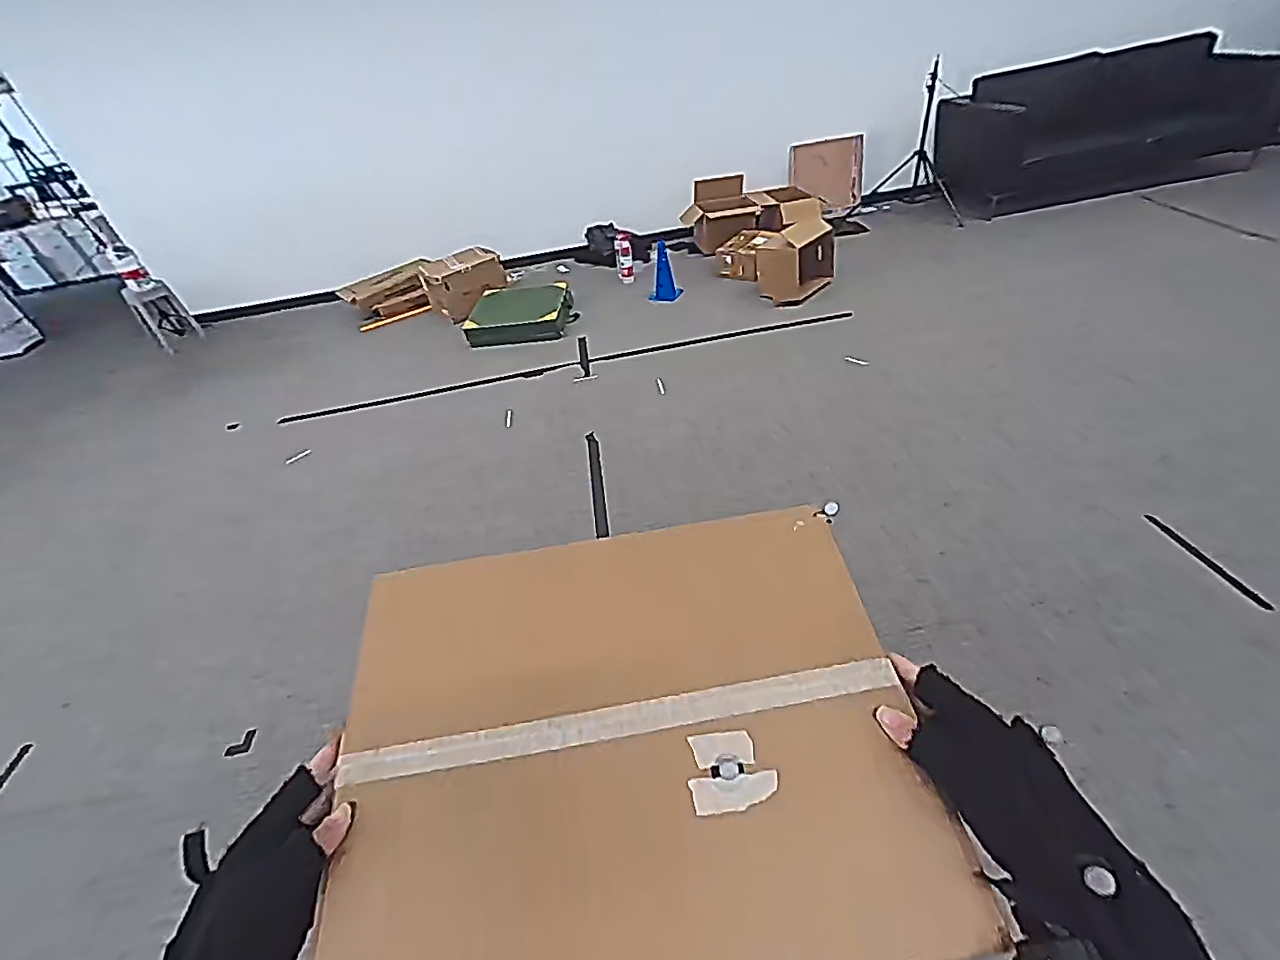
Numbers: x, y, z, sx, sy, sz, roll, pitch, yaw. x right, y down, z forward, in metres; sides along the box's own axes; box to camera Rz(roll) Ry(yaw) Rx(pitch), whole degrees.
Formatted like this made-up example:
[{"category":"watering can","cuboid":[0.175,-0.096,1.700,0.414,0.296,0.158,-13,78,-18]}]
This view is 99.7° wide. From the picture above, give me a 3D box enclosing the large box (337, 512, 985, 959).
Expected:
[{"category":"large box","cuboid":[0.000,0.270,0.523,0.408,0.320,0.320,-9,53,-3]}]
